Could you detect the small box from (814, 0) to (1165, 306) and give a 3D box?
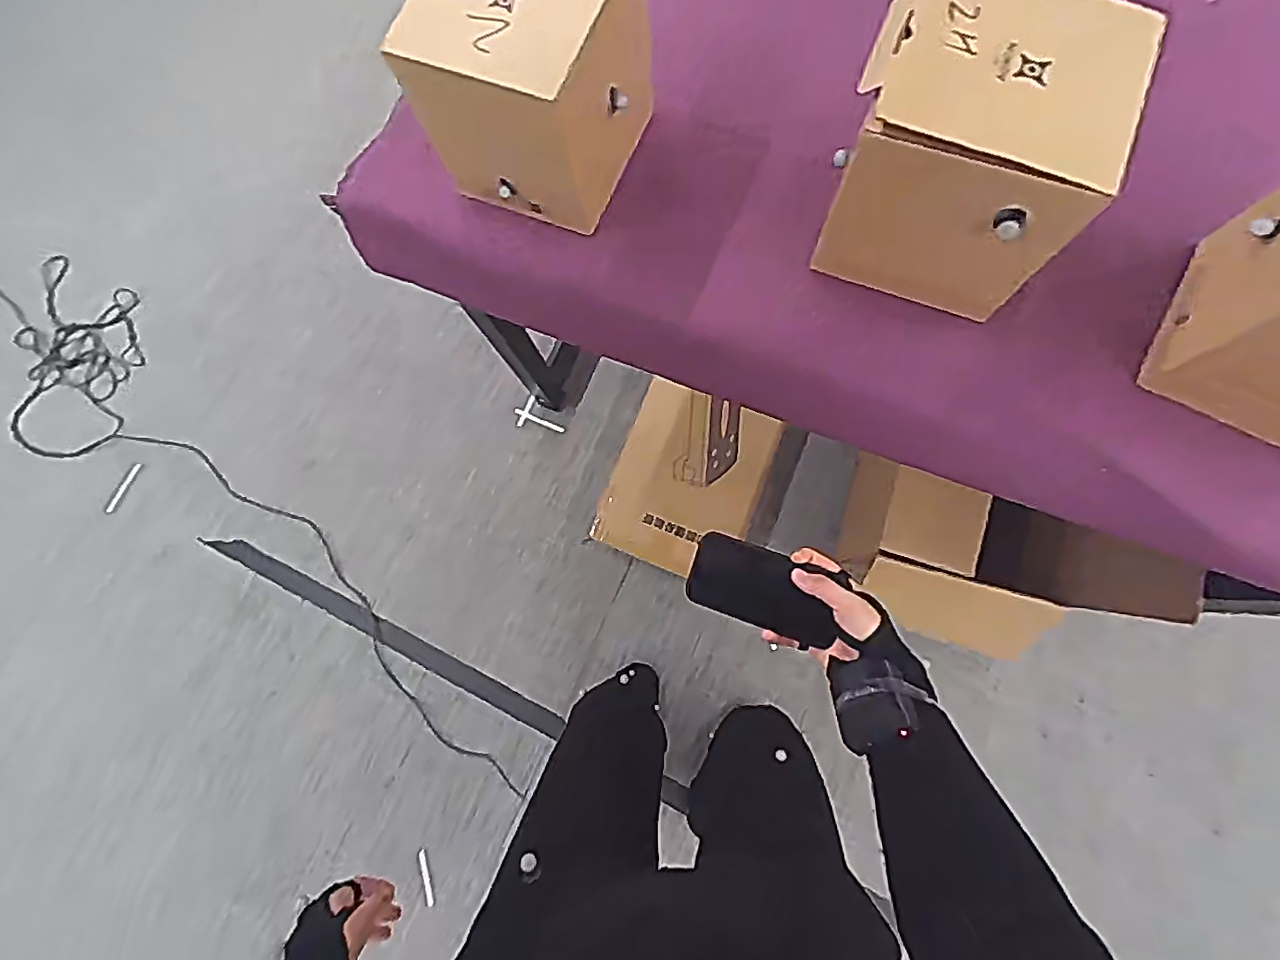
[{"bbox_3d":[0.275,-0.277,0.466,0.179,0.176,0.168,21,78,9],"label":"small box"}]

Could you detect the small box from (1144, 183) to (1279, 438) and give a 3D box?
[{"bbox_3d":[0.558,-0.141,0.413,0.179,0.176,0.168,29,82,10],"label":"small box"}]
